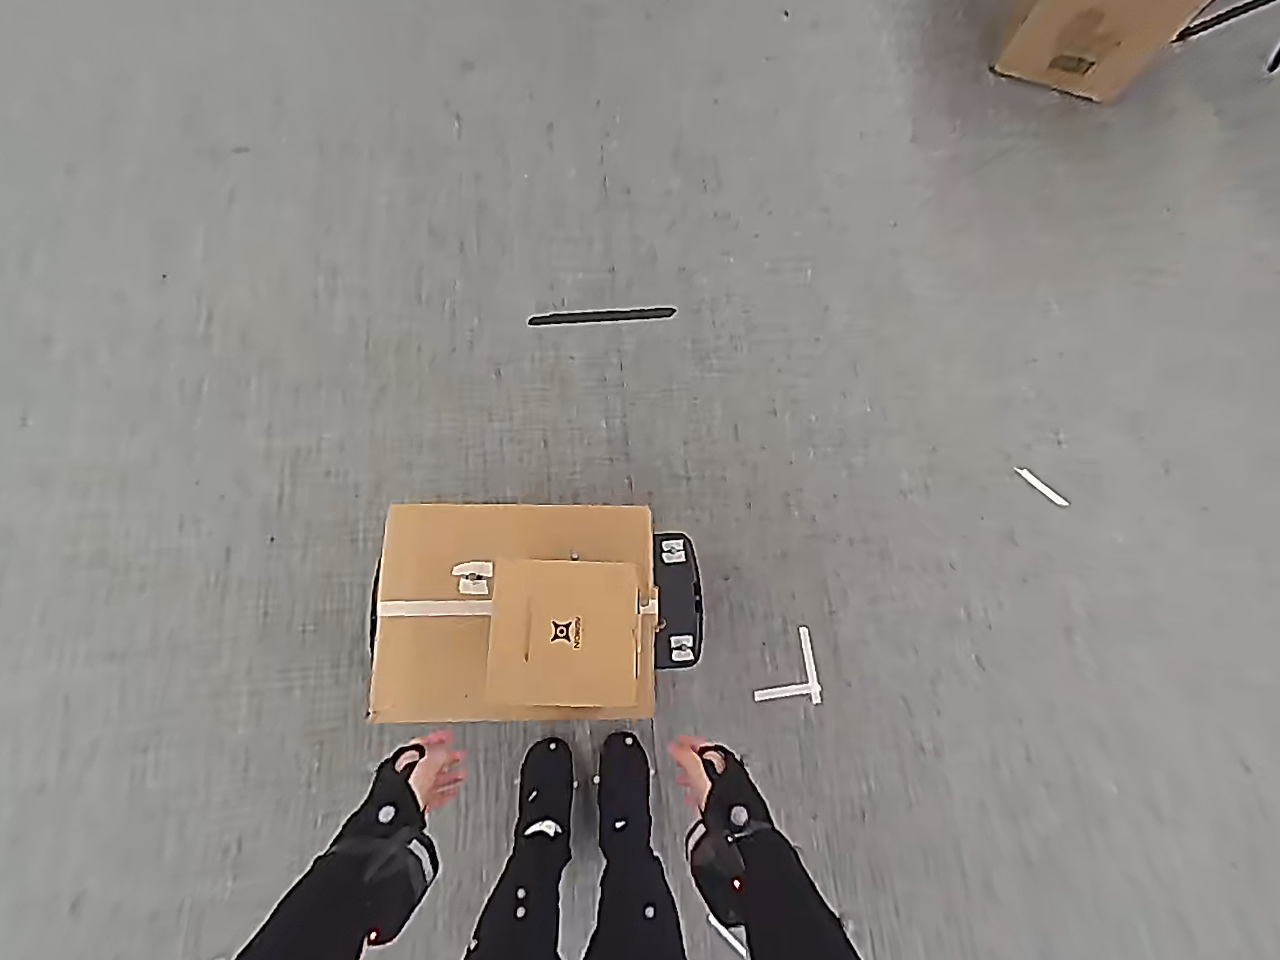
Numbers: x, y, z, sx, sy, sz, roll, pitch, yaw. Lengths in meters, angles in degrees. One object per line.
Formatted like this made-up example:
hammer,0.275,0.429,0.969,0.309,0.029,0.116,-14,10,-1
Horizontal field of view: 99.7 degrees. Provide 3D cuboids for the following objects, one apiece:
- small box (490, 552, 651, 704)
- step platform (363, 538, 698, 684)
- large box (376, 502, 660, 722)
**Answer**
small box,-0.082,0.185,0.699,0.179,0.176,0.168,3,77,-2
step platform,-0.217,0.277,1.167,0.684,0.204,0.286,2,77,-2
large box,-0.177,0.219,0.937,0.408,0.320,0.320,0,76,-2
